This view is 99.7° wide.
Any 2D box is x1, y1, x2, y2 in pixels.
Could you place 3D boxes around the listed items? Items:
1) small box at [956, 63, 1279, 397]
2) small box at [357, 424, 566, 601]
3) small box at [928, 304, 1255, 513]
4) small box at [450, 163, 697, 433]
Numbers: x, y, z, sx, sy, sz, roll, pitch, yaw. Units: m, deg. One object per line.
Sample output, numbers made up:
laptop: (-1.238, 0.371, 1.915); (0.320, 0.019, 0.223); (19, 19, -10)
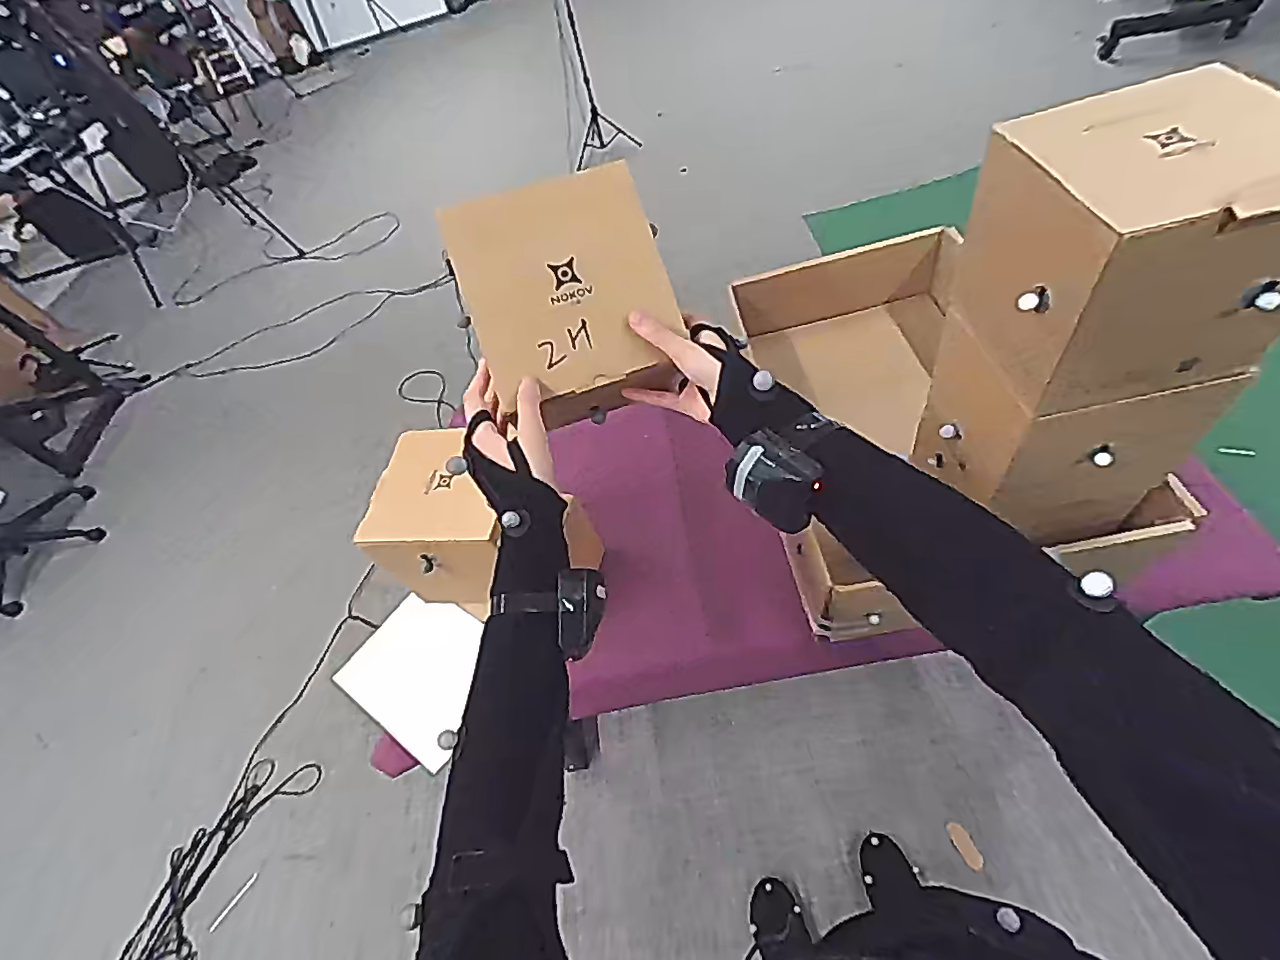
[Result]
small box: (0.386, -0.186, 0.434); (0.168, 0.176, 0.179); (-11, 52, 9)
small box: (-0.211, 0.047, 0.698); (0.179, 0.176, 0.168); (-3, 54, 14)
small box: (0.428, -0.087, 0.557); (0.179, 0.176, 0.168); (-12, 52, 10)
small box: (-0.062, -0.159, 0.525); (0.168, 0.176, 0.179); (-18, 90, -6)
